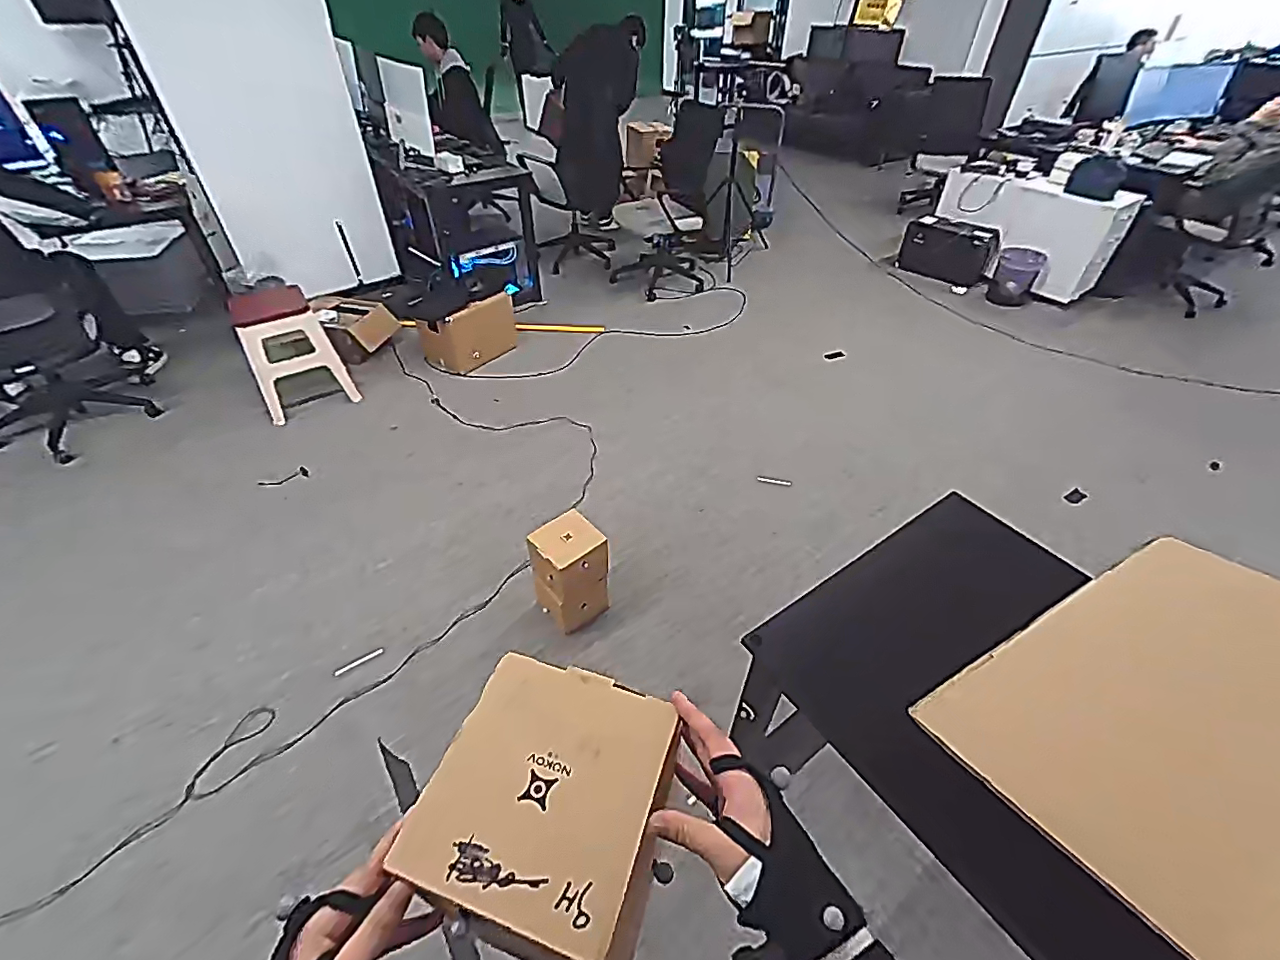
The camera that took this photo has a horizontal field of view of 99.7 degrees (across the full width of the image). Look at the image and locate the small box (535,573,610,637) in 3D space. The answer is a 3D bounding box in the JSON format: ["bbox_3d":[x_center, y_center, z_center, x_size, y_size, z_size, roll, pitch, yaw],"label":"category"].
[{"bbox_3d":[-0.213,0.360,1.723,0.179,0.176,0.168,-29,50,-28],"label":"small box"}]

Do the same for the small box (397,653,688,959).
[{"bbox_3d":[-0.063,0.286,0.460,0.168,0.176,0.179,10,41,17],"label":"small box"}]

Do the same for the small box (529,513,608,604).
[{"bbox_3d":[-0.208,0.237,1.617,0.179,0.176,0.168,-31,52,-31],"label":"small box"}]
